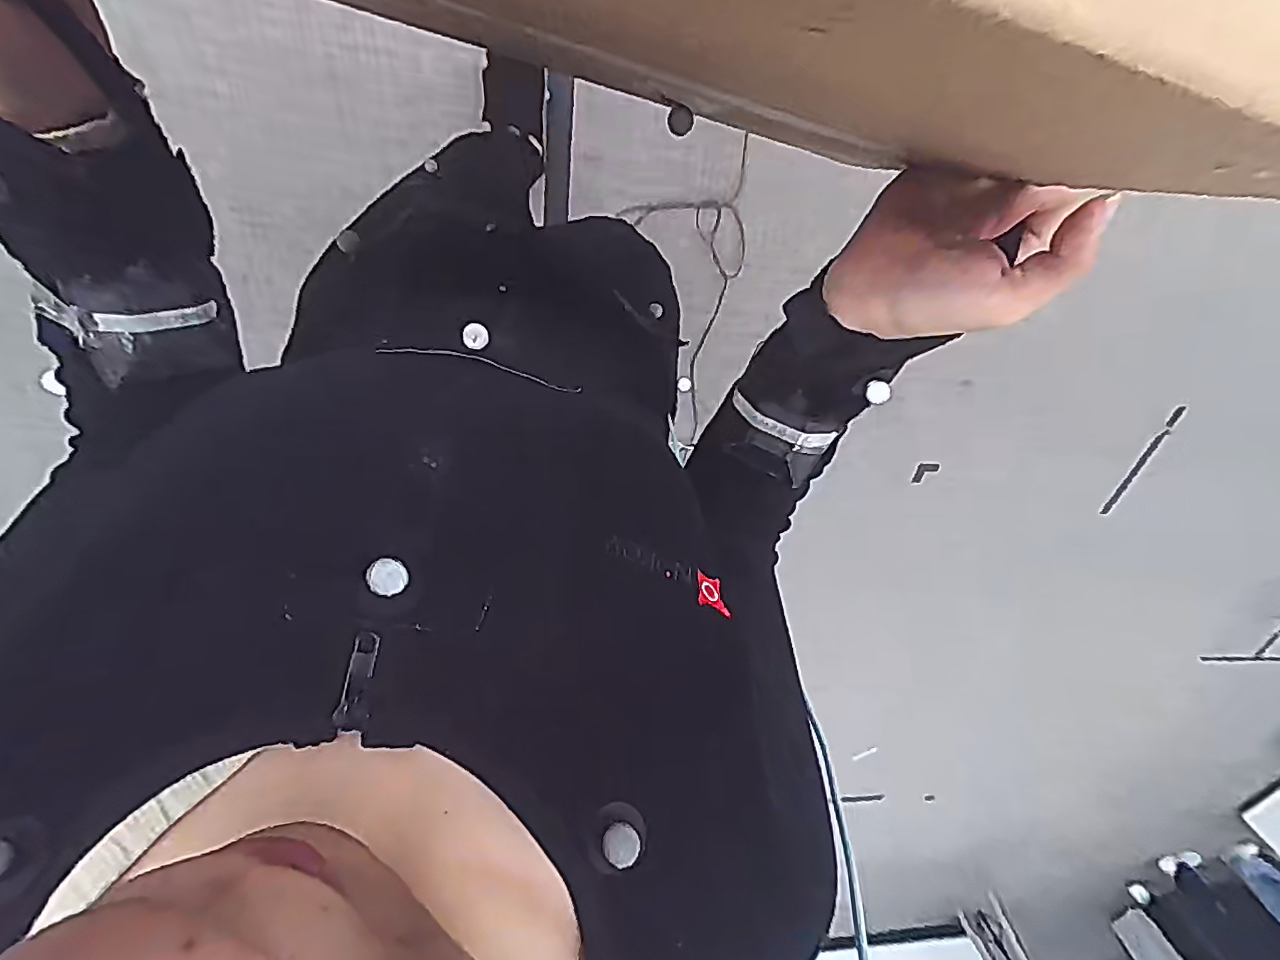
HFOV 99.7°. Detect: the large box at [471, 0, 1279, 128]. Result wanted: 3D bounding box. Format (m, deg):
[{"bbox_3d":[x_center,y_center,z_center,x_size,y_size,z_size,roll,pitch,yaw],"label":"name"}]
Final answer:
[{"bbox_3d":[-0.001,-0.310,0.113,0.408,0.320,0.320,9,122,-11],"label":"large box"}]
